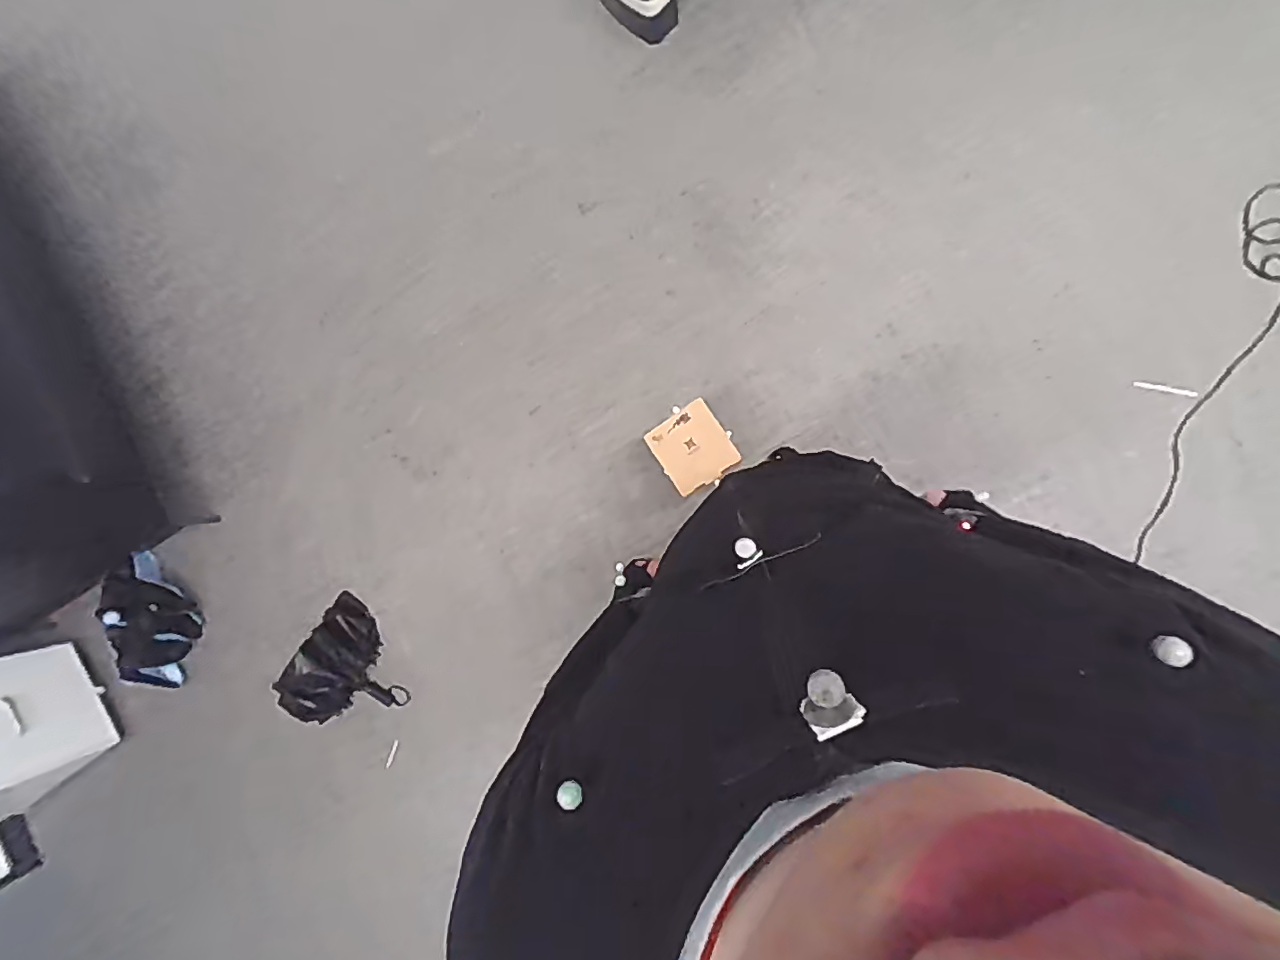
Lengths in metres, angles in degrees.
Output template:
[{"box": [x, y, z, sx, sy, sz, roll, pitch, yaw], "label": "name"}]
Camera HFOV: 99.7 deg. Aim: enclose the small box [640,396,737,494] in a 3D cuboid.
[{"box": [0.127, -0.085, 1.335, 0.168, 0.176, 0.179, -35, 85, 9], "label": "small box"}]
